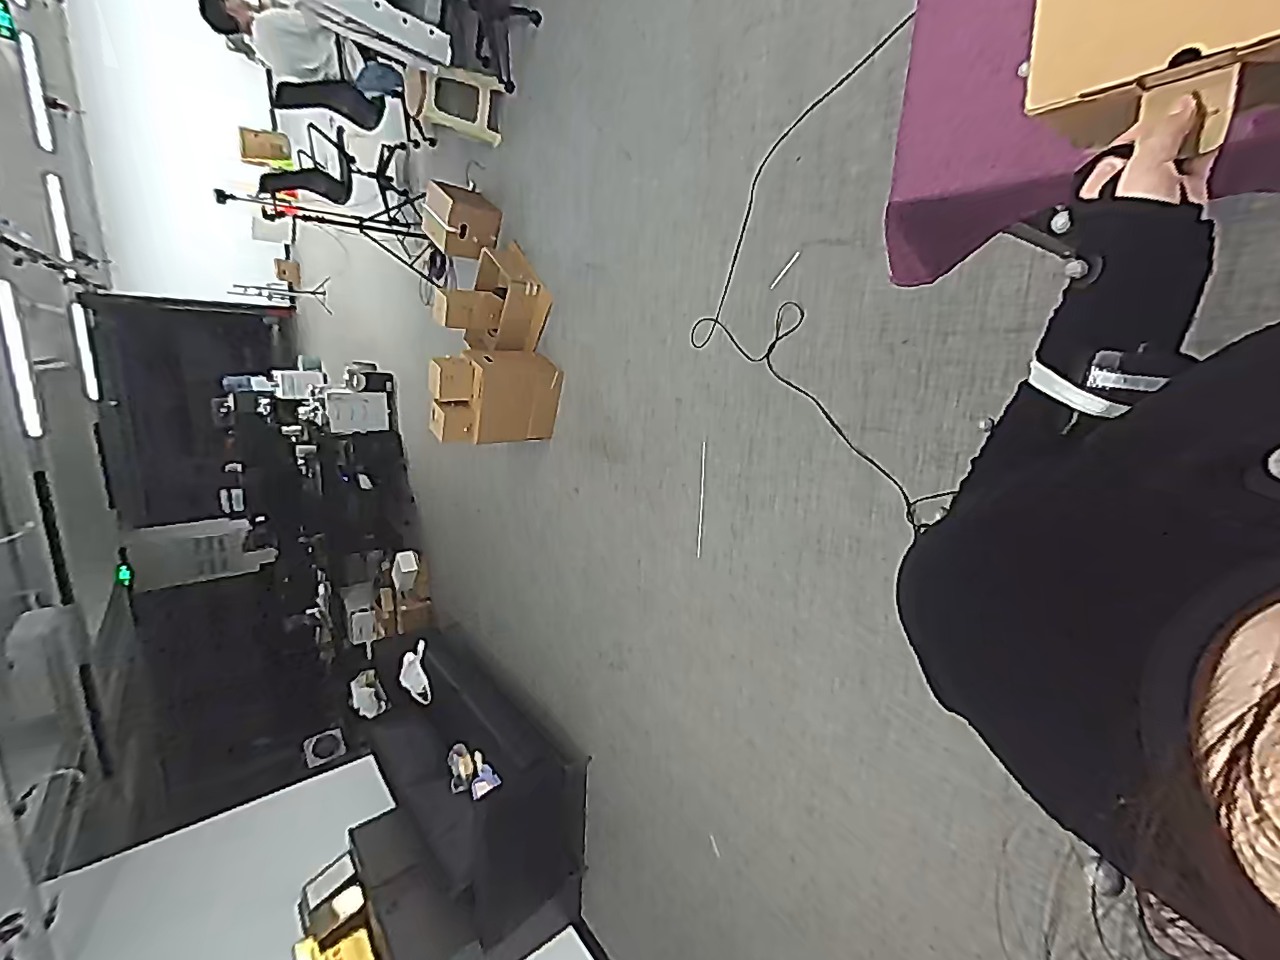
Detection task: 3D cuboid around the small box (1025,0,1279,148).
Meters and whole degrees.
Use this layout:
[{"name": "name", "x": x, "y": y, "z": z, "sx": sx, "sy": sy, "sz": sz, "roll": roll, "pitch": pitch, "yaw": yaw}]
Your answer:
[{"name": "small box", "x": 0.397, "y": -0.361, "z": 0.375, "sx": 0.168, "sy": 0.176, "sz": 0.179, "roll": 13, "pitch": 113, "yaw": 48}]
